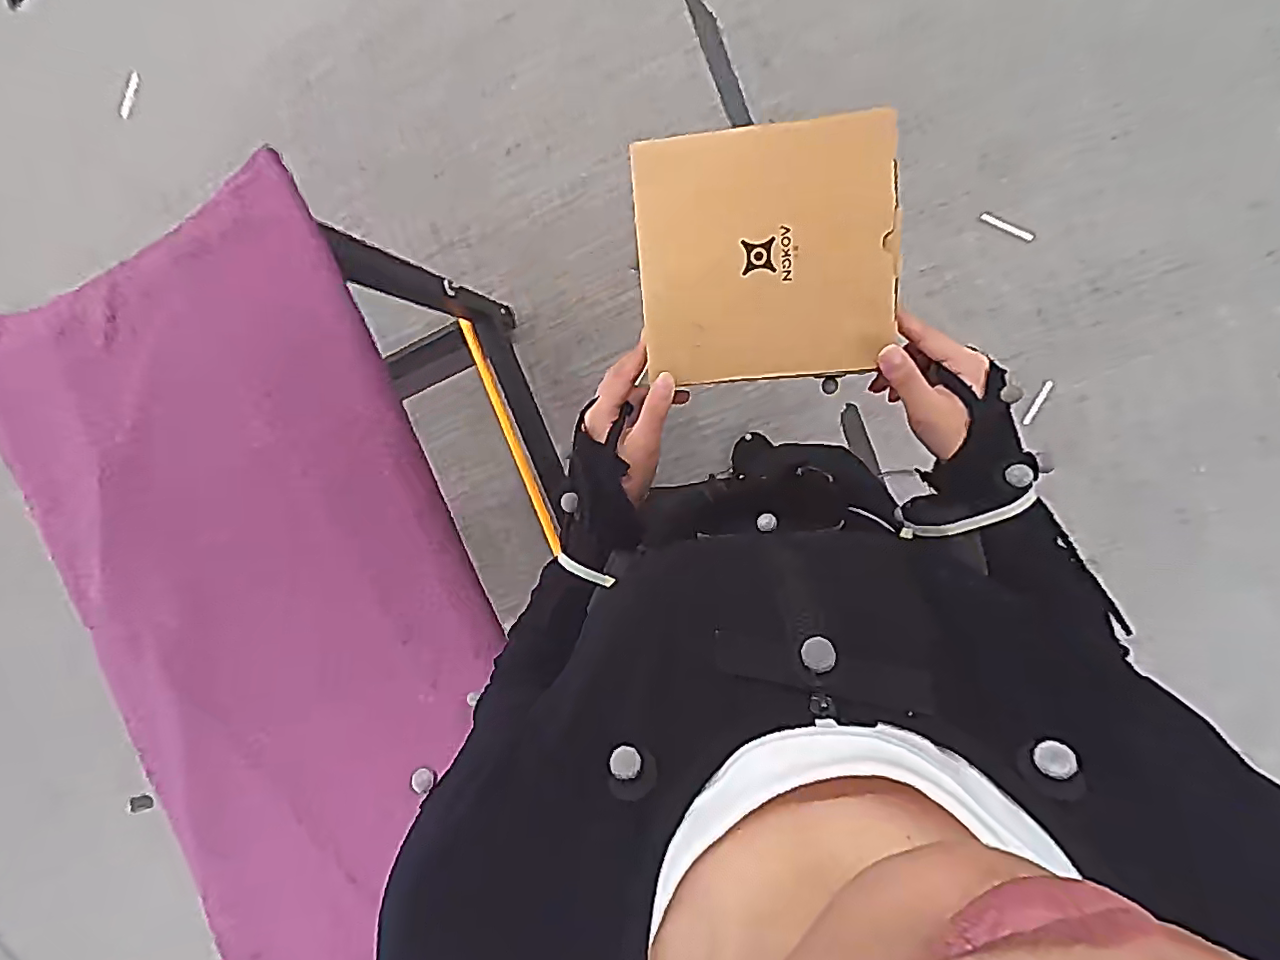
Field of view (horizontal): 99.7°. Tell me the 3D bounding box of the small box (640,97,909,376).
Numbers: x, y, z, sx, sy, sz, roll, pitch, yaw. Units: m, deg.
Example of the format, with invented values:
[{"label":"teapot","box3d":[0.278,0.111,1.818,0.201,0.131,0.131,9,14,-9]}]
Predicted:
[{"label":"small box","box3d":[0.099,-0.175,0.446,0.179,0.176,0.168,-4,101,6]}]
